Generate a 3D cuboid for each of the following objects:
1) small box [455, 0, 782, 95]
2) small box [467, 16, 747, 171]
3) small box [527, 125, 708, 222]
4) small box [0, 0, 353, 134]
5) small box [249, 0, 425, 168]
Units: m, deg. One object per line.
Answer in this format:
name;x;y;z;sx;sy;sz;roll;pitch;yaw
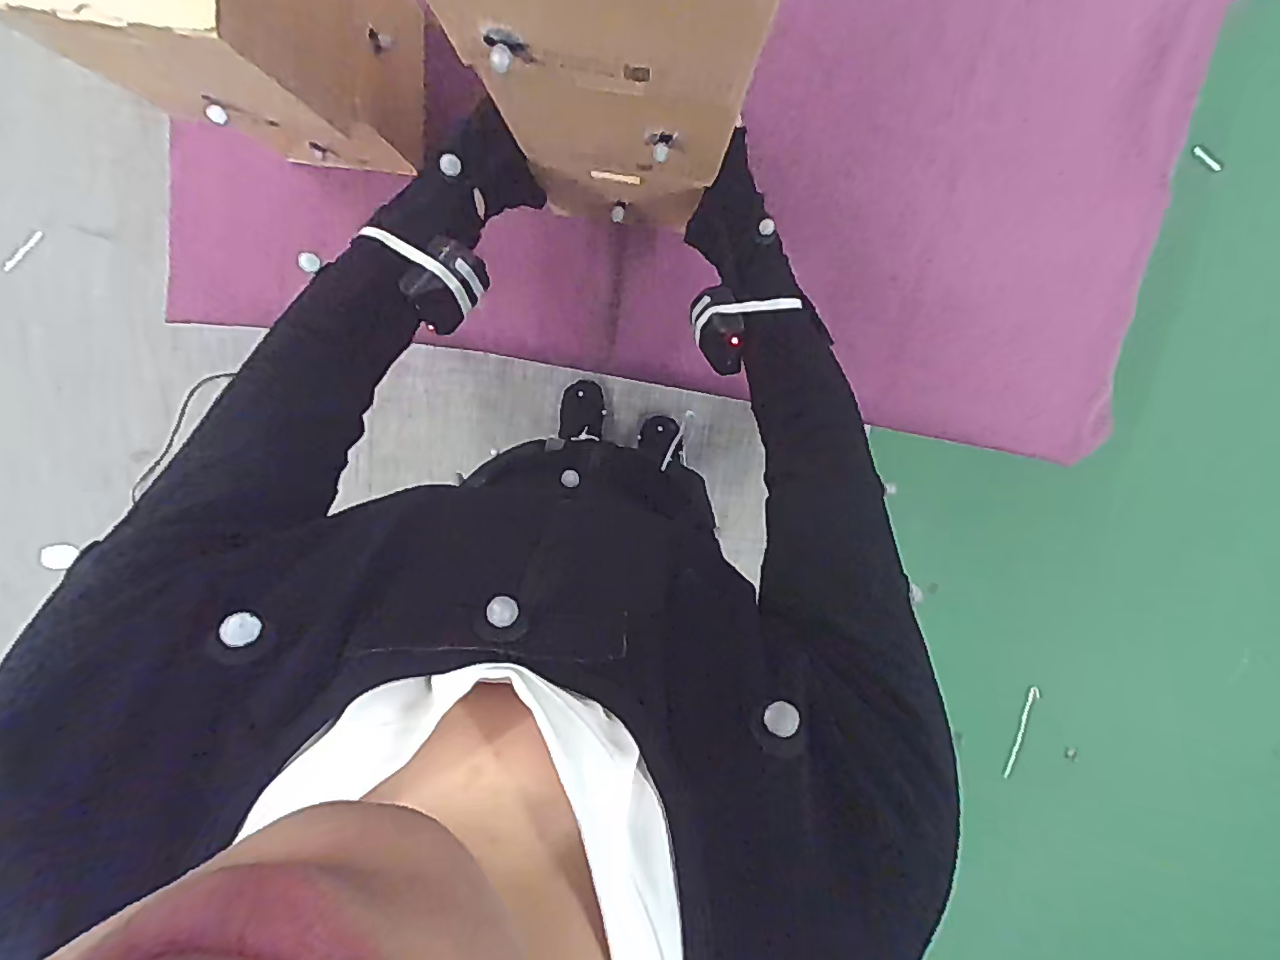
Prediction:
small box;-0.004;-0.296;0.217;0.168;0.176;0.179;8;101;-2
small box;-0.002;-0.333;0.360;0.168;0.176;0.179;8;101;-1
small box;-0.009;-0.372;0.538;0.168;0.176;0.179;5;101;0
small box;-0.336;-0.396;0.402;0.168;0.176;0.179;7;103;-2
small box;-0.335;-0.453;0.558;0.168;0.176;0.179;5;103;-2
